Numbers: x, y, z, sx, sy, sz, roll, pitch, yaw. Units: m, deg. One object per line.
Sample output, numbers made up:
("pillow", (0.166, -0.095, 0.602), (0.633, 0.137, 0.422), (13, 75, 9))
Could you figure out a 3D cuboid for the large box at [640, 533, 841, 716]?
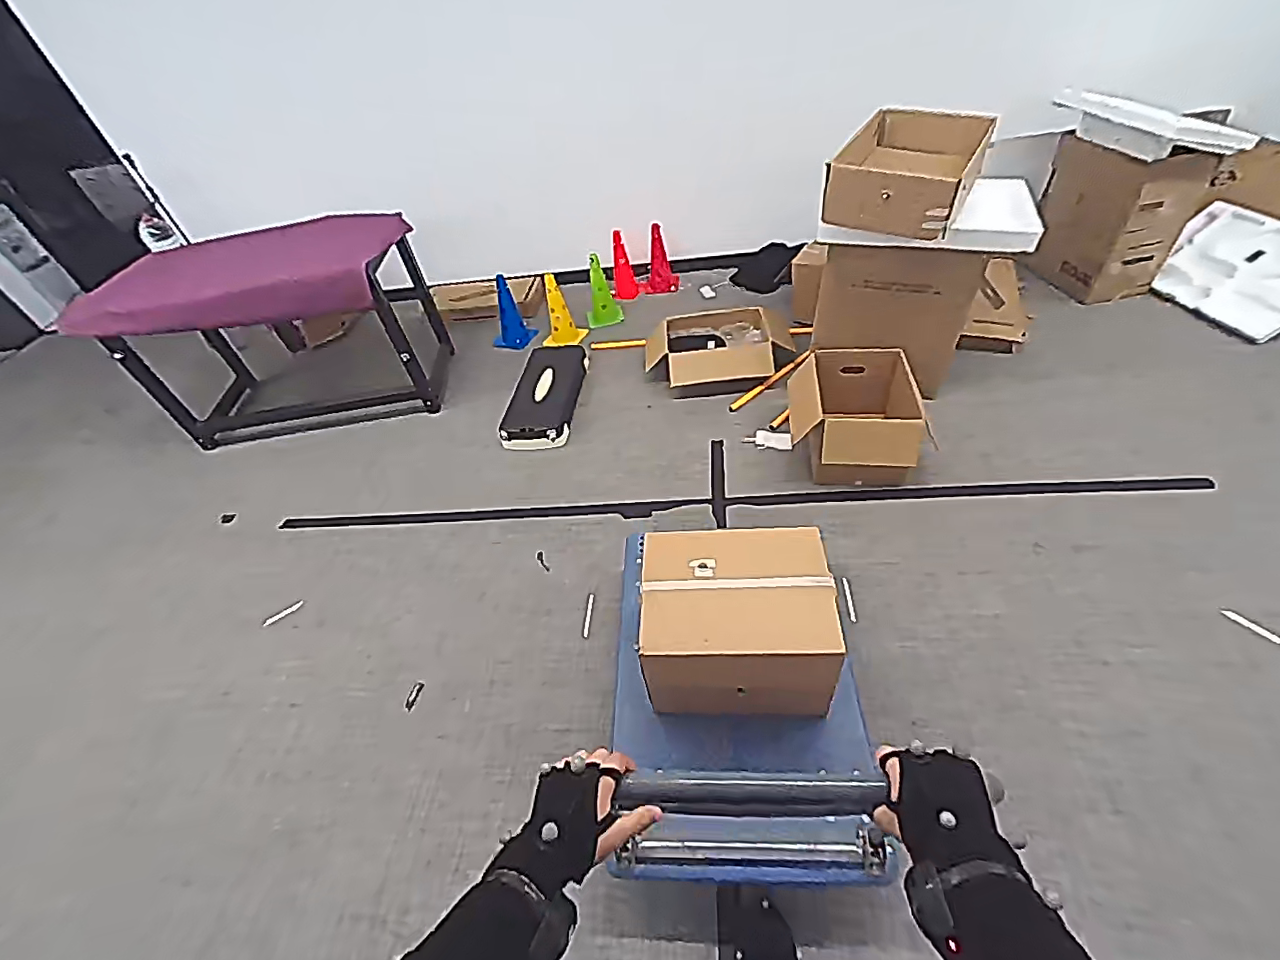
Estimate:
("large box", (0.224, 0.350, 1.285), (0.408, 0.320, 0.320), (-4, 44, 8))
